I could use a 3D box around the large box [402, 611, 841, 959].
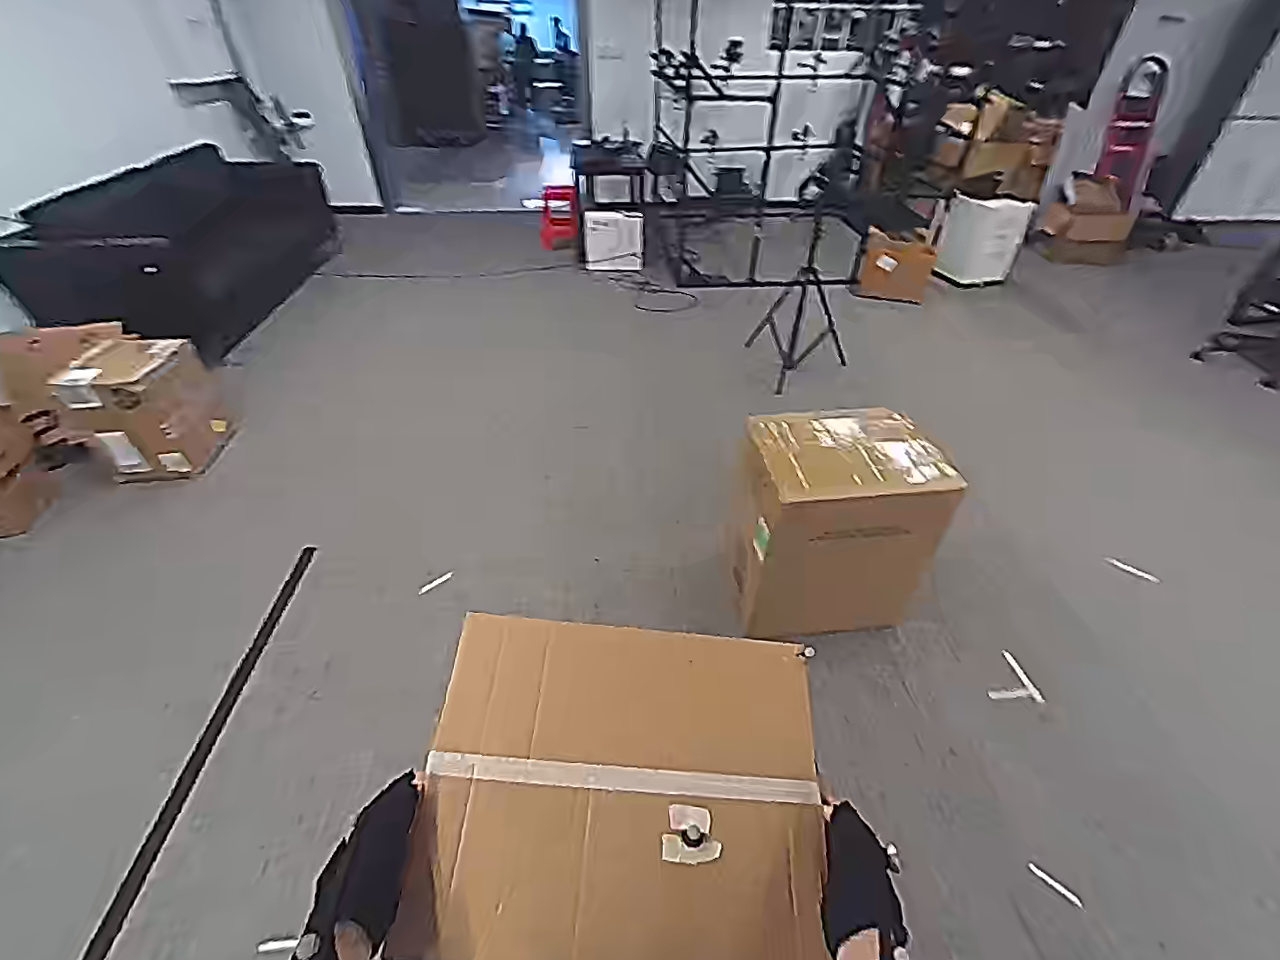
[{"bbox_3d":[-0.022,0.381,0.684,0.408,0.320,0.320,6,57,-3],"label":"large box"}]
